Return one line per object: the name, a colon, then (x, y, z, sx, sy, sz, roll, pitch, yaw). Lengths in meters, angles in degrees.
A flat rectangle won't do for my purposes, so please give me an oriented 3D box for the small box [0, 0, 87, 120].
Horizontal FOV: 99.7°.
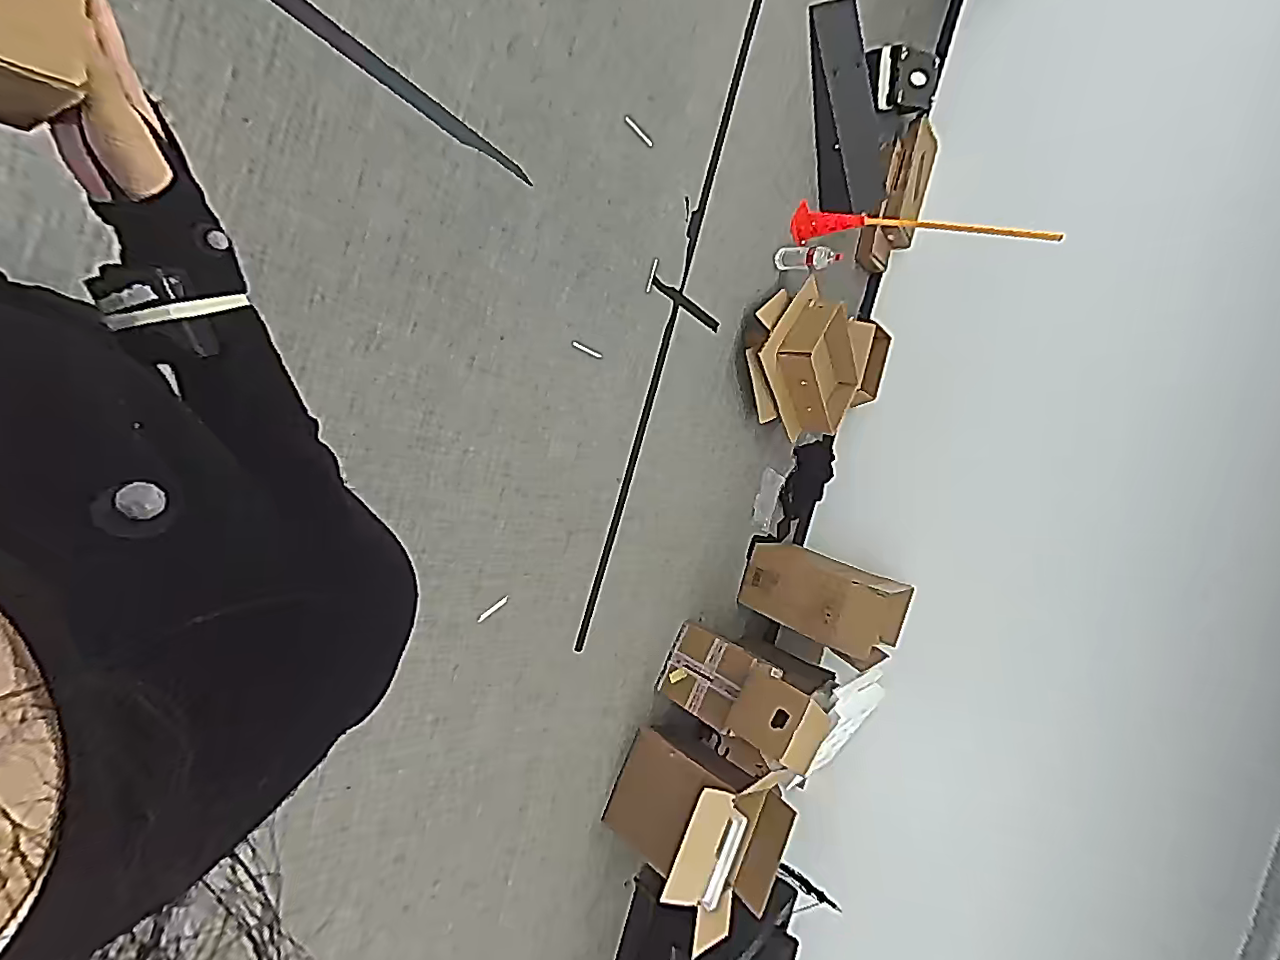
small box: (-0.376, -0.291, 0.239, 0.168, 0.176, 0.179, -6, 110, -54)
